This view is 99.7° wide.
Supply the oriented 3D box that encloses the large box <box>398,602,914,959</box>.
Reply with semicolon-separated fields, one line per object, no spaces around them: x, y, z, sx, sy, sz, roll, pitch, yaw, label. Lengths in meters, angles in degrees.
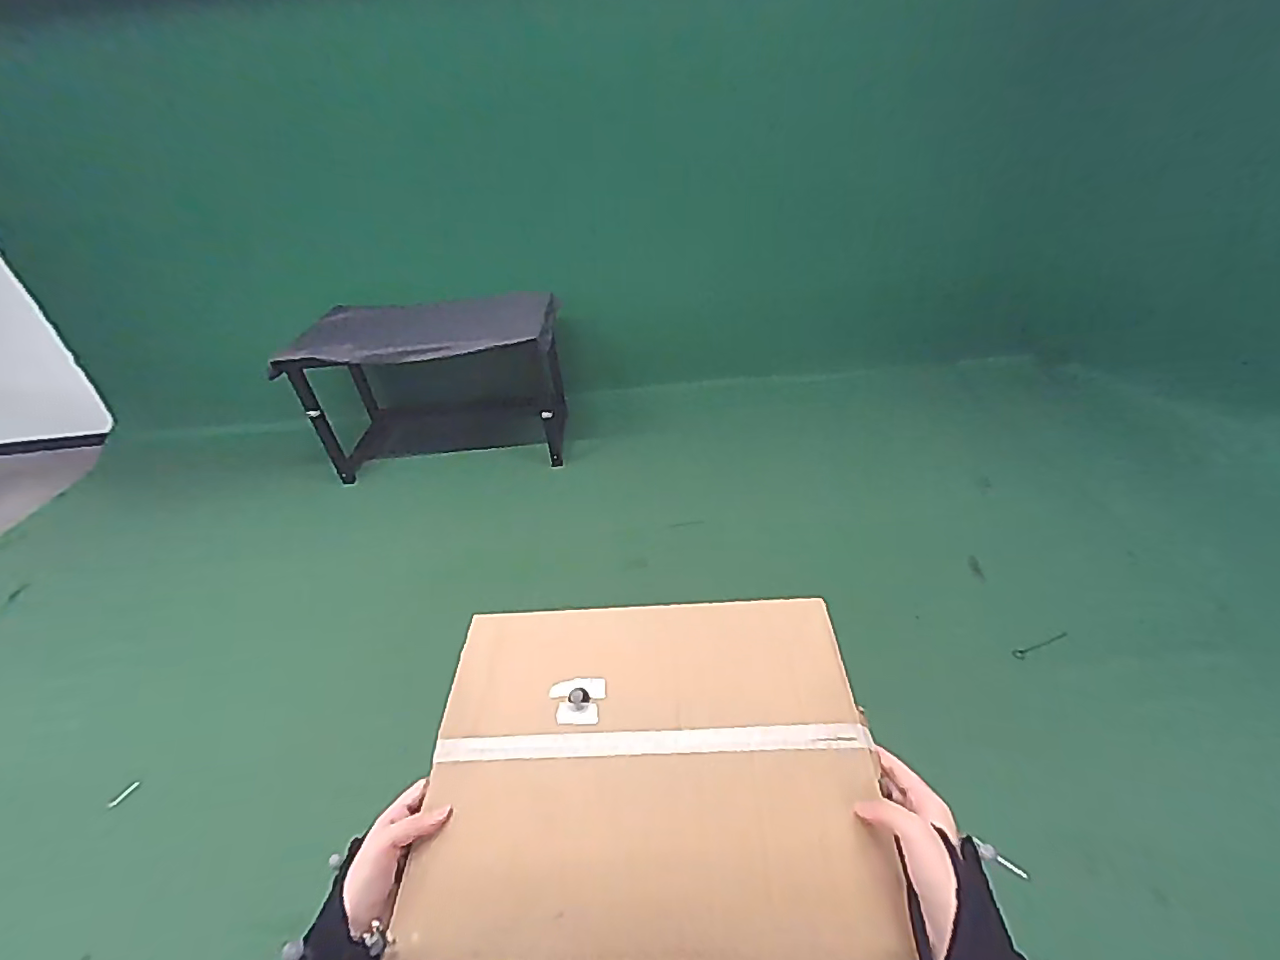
0.024;0.368;0.615;0.408;0.320;0.320;-5;42;5;large box
